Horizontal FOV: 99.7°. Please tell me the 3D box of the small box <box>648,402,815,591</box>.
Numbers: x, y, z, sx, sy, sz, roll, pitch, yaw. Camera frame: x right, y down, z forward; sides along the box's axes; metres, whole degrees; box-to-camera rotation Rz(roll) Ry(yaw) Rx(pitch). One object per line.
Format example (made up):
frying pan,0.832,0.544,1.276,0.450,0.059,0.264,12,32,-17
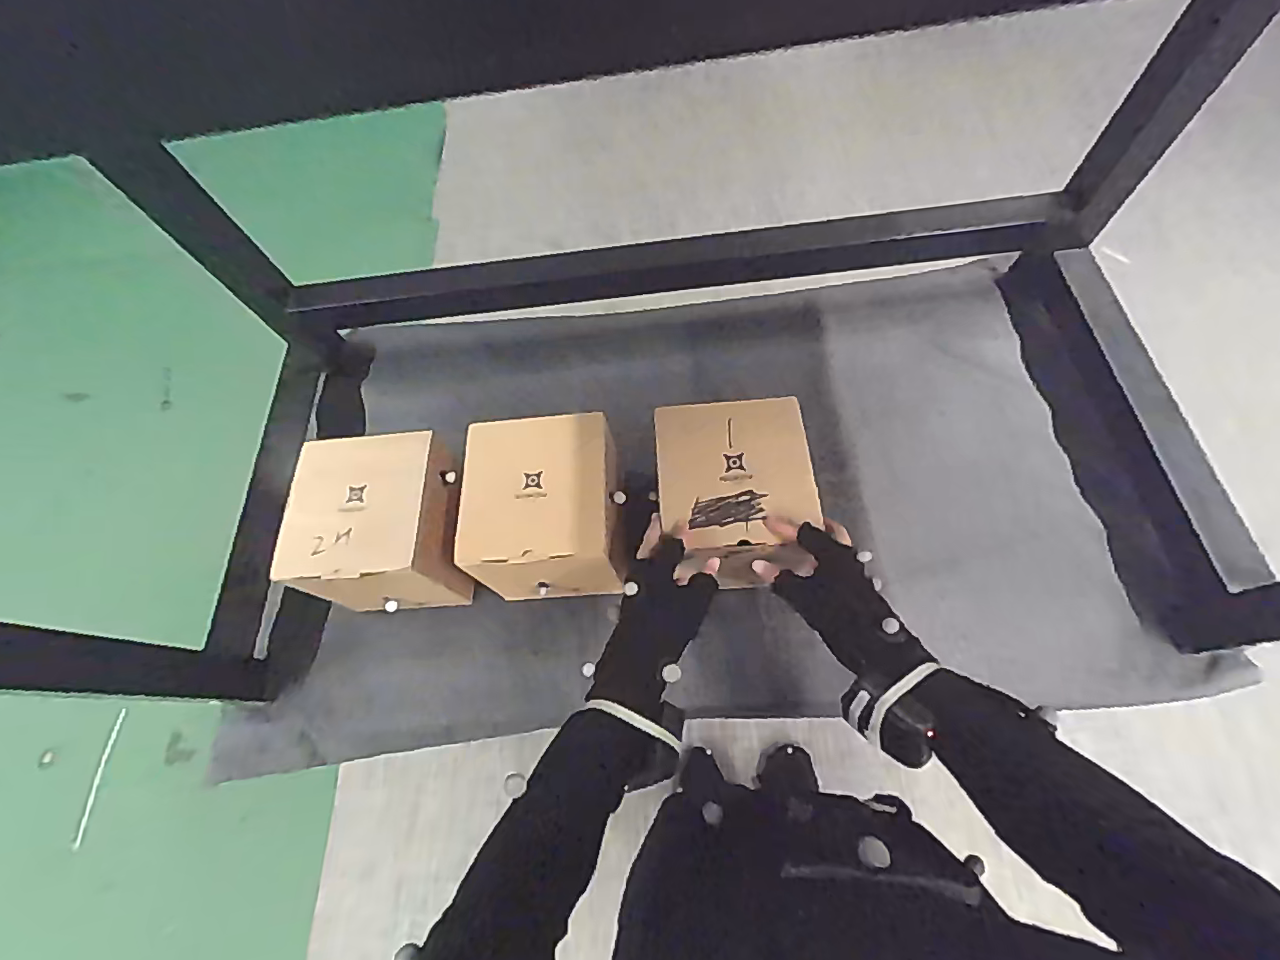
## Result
small box,0.100,0.030,0.650,0.168,0.176,0.179,-4,62,3
